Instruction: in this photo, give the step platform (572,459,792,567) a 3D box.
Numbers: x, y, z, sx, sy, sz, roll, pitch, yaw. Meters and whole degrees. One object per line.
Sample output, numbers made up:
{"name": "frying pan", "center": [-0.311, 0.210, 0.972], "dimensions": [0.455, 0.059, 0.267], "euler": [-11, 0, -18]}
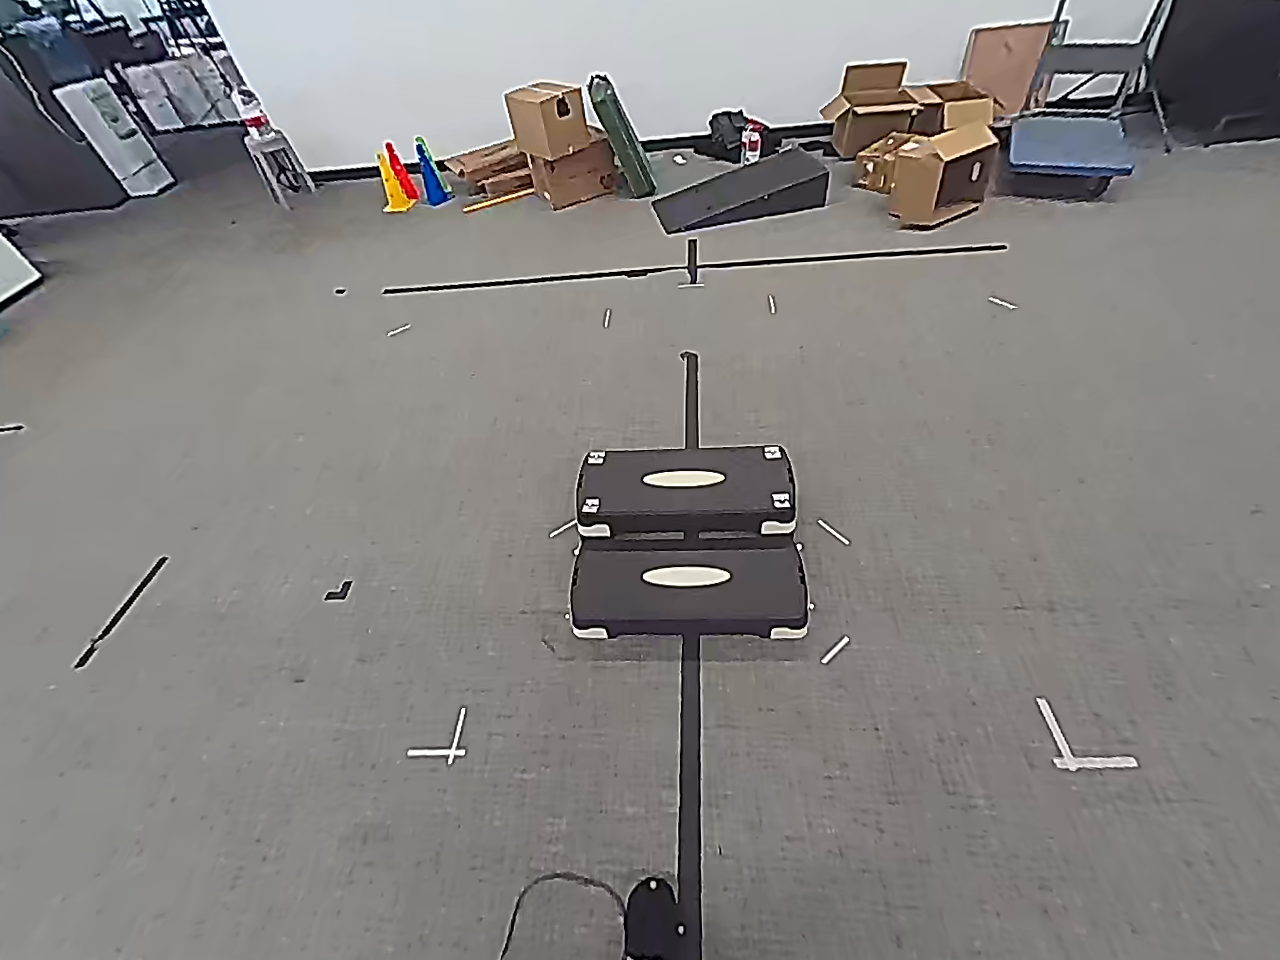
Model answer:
{"name": "step platform", "center": [0.126, 0.099, 1.719], "dimensions": [0.684, 0.204, 0.286], "euler": [-2, 48, 5]}
